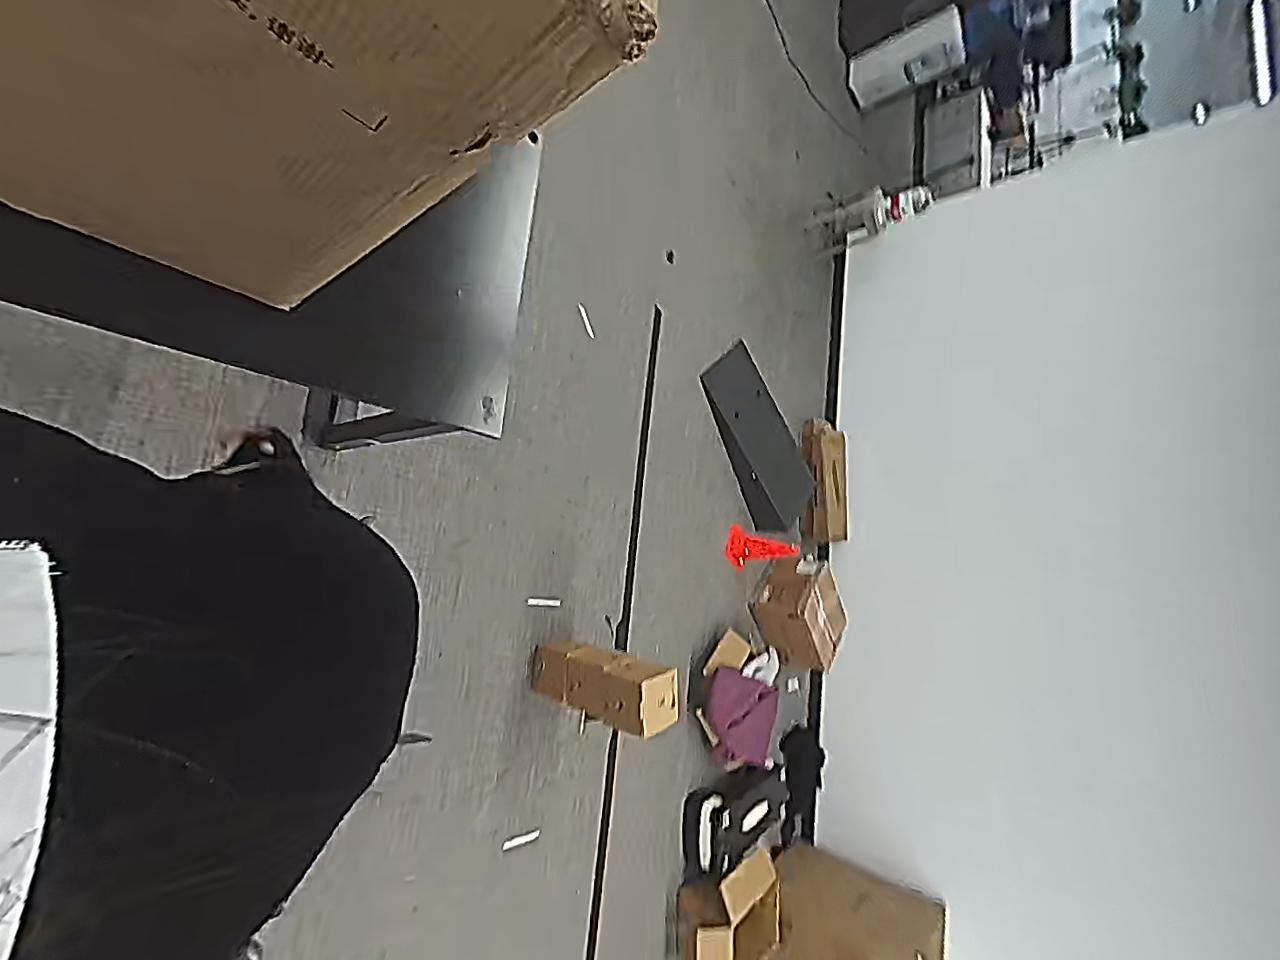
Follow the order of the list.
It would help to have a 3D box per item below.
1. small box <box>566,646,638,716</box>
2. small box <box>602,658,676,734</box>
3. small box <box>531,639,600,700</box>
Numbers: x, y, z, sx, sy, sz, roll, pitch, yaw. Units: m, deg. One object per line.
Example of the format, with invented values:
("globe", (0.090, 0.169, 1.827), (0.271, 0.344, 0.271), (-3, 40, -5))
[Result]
("small box", (-0.127, 0.663, 1.809), (0.179, 0.176, 0.168), (4, 84, -49))
("small box", (-0.006, 0.670, 1.697), (0.179, 0.176, 0.168), (1, 87, -49))
("small box", (-0.260, 0.662, 1.907), (0.179, 0.176, 0.168), (11, 80, -47))
